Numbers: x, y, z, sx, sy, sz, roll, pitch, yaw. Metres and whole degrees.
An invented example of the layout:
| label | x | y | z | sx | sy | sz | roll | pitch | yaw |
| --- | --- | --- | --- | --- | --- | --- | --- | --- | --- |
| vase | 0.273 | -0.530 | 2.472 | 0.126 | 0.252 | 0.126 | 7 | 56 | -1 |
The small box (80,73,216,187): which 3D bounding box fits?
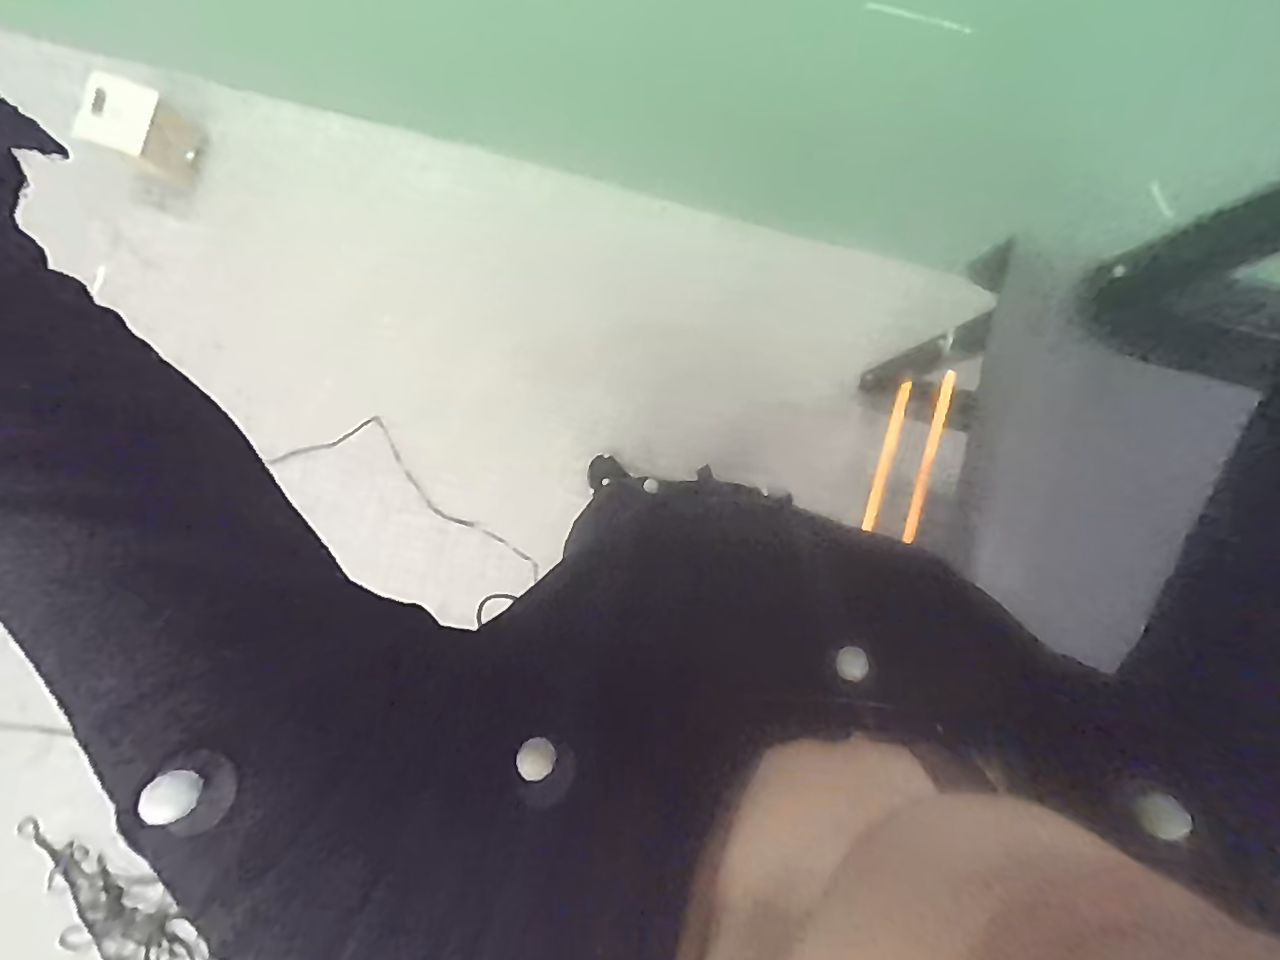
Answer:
| label | x | y | z | sx | sy | sz | roll | pitch | yaw |
| --- | --- | --- | --- | --- | --- | --- | --- | --- | --- |
| small box | -1.280 | -0.906 | 1.417 | 0.179 | 0.176 | 0.168 | 19 | 90 | -1 |
